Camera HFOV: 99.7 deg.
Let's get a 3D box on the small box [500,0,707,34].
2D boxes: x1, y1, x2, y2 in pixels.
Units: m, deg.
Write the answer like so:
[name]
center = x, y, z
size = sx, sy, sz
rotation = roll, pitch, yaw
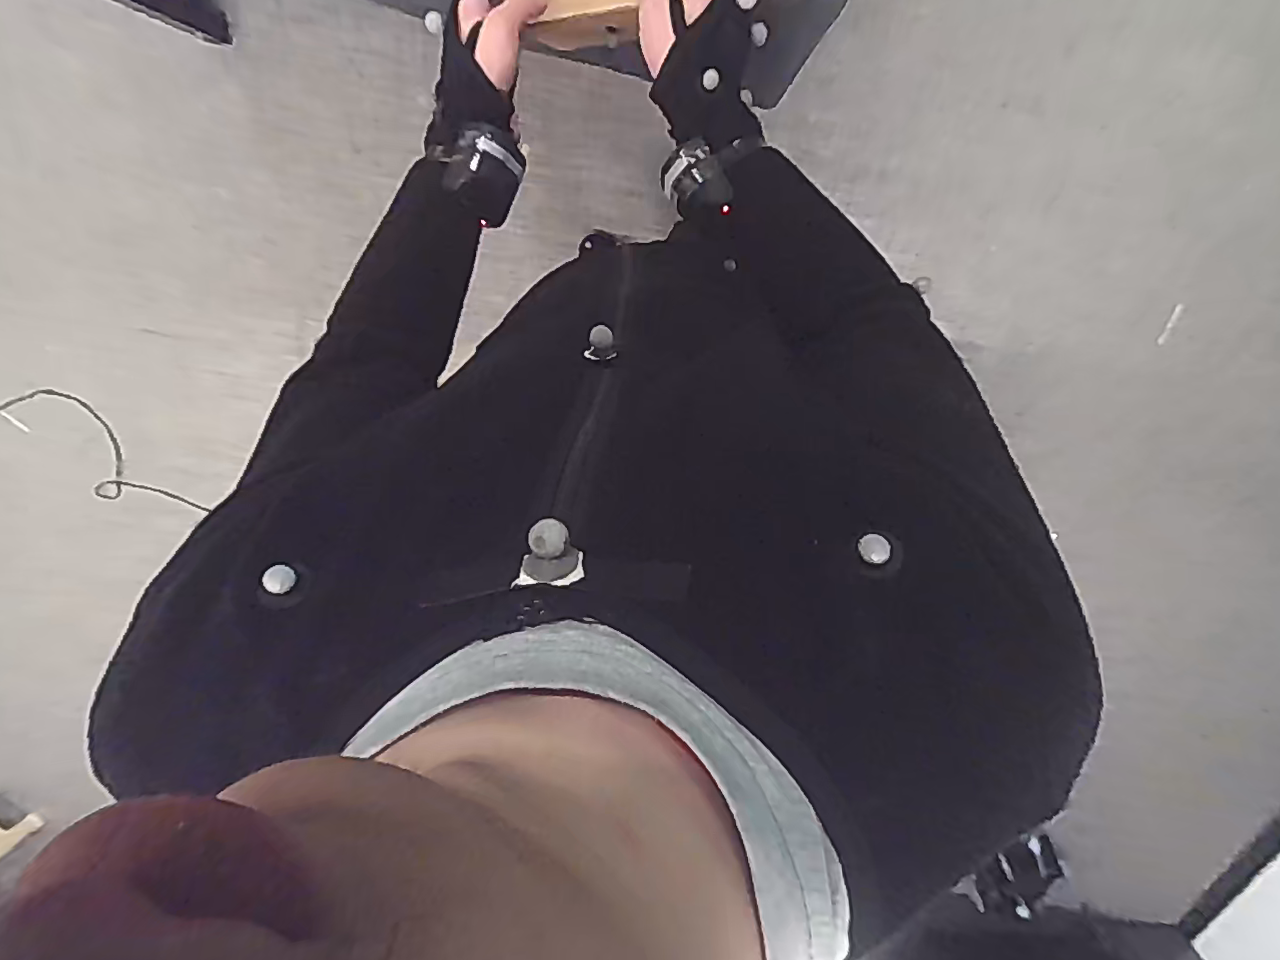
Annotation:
[small box]
center = -0.026, -0.506, 0.462
size = 0.179, 0.176, 0.168
rotation = 0, 122, 10
